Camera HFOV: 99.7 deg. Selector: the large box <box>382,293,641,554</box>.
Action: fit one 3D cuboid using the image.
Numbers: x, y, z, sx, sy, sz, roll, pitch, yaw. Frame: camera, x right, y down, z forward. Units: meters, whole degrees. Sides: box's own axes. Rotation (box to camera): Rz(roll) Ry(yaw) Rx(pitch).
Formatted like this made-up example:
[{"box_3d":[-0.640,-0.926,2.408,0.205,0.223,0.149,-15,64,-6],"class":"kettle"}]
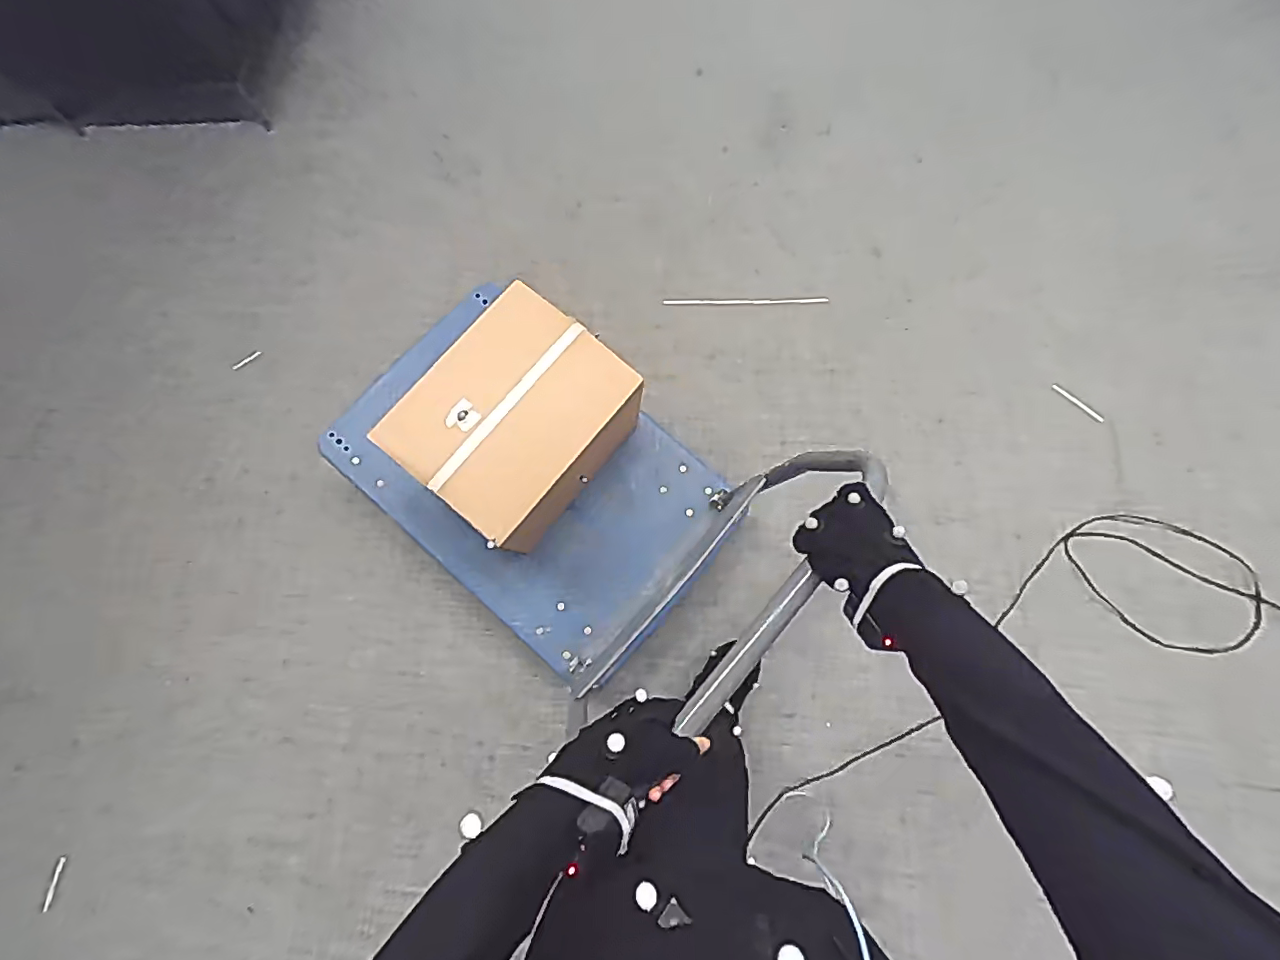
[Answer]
[{"box_3d":[-0.238,-0.095,1.142,0.320,0.320,0.408,37,81,4],"class":"large box"}]
